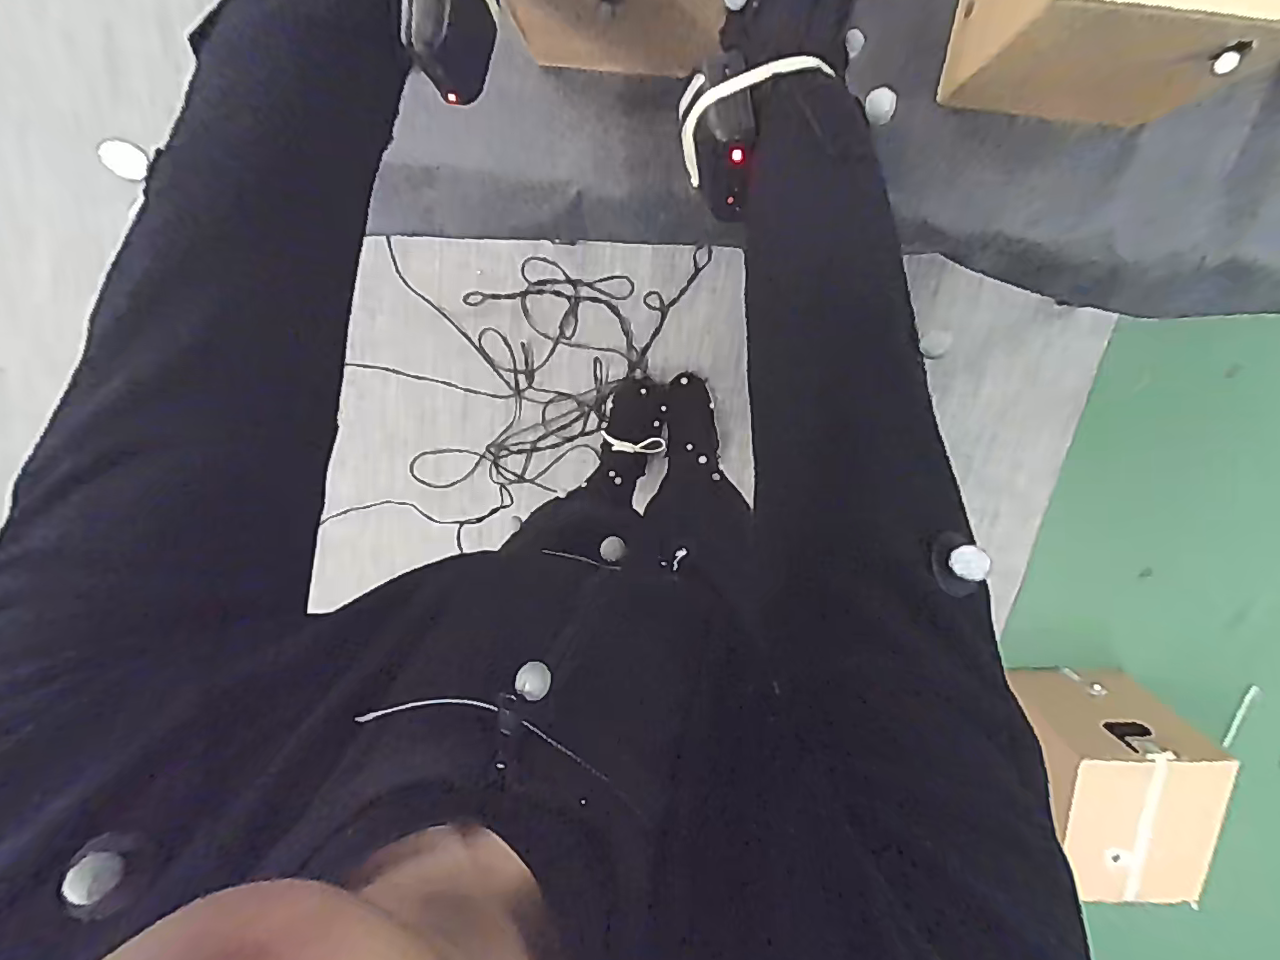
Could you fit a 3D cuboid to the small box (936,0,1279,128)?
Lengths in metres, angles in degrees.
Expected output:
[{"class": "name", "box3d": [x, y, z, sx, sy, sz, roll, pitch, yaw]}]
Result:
[{"class": "small box", "box3d": [0.345, -0.373, 0.380, 0.179, 0.176, 0.168, 8, 106, 1]}]

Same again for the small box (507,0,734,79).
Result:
[{"class": "small box", "box3d": [-0.011, -0.421, 0.389, 0.179, 0.176, 0.168, 6, 107, 1]}]
